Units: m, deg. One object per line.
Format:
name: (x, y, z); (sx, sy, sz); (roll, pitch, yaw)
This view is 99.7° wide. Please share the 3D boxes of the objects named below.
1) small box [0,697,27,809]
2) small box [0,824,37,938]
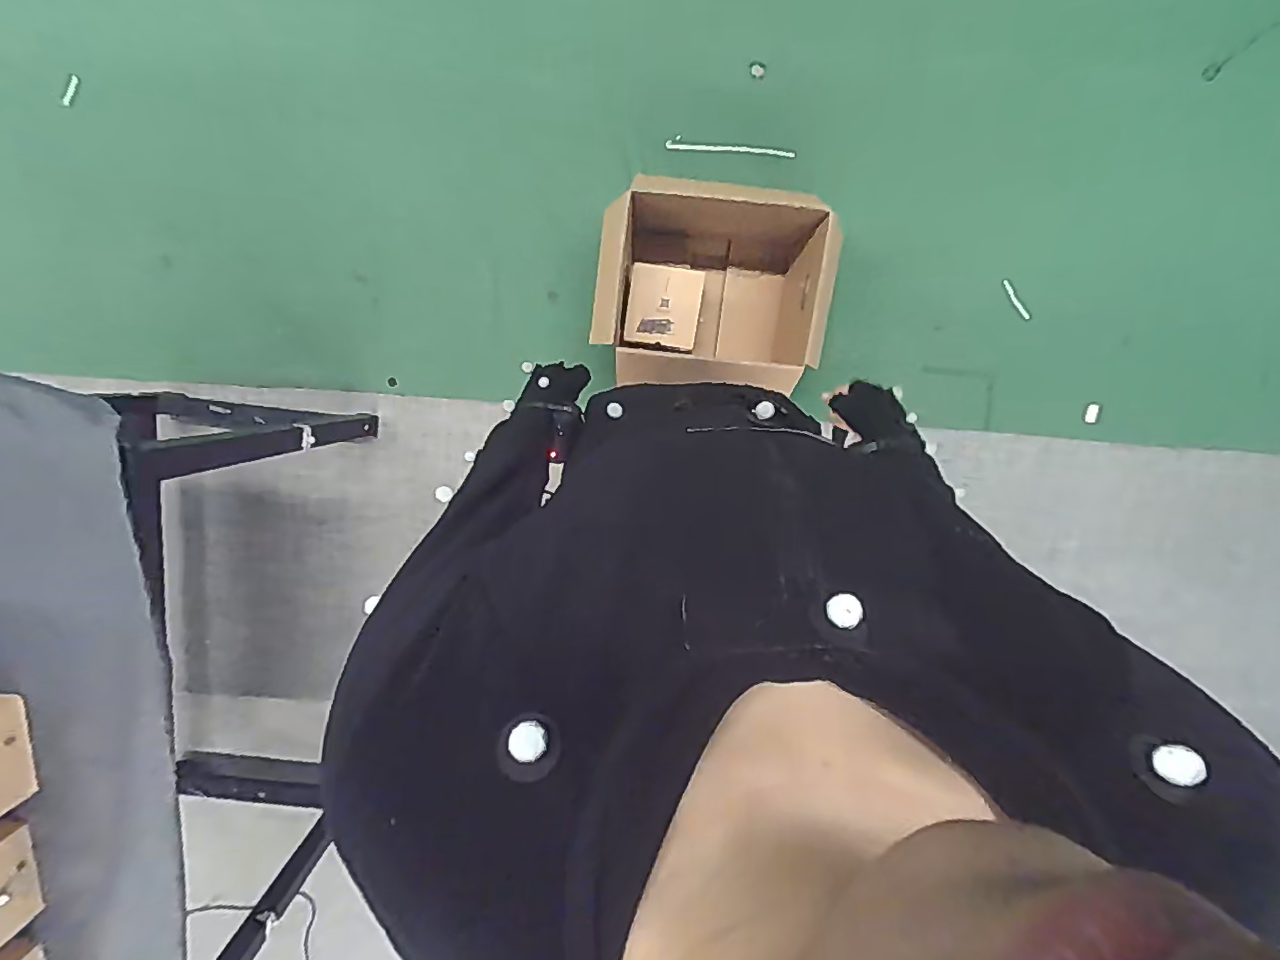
small box: (-1.010, 0.408, 0.740); (0.179, 0.176, 0.168); (3, 101, 1)
small box: (-1.051, 0.626, 0.778); (0.179, 0.176, 0.168); (3, 101, 0)
